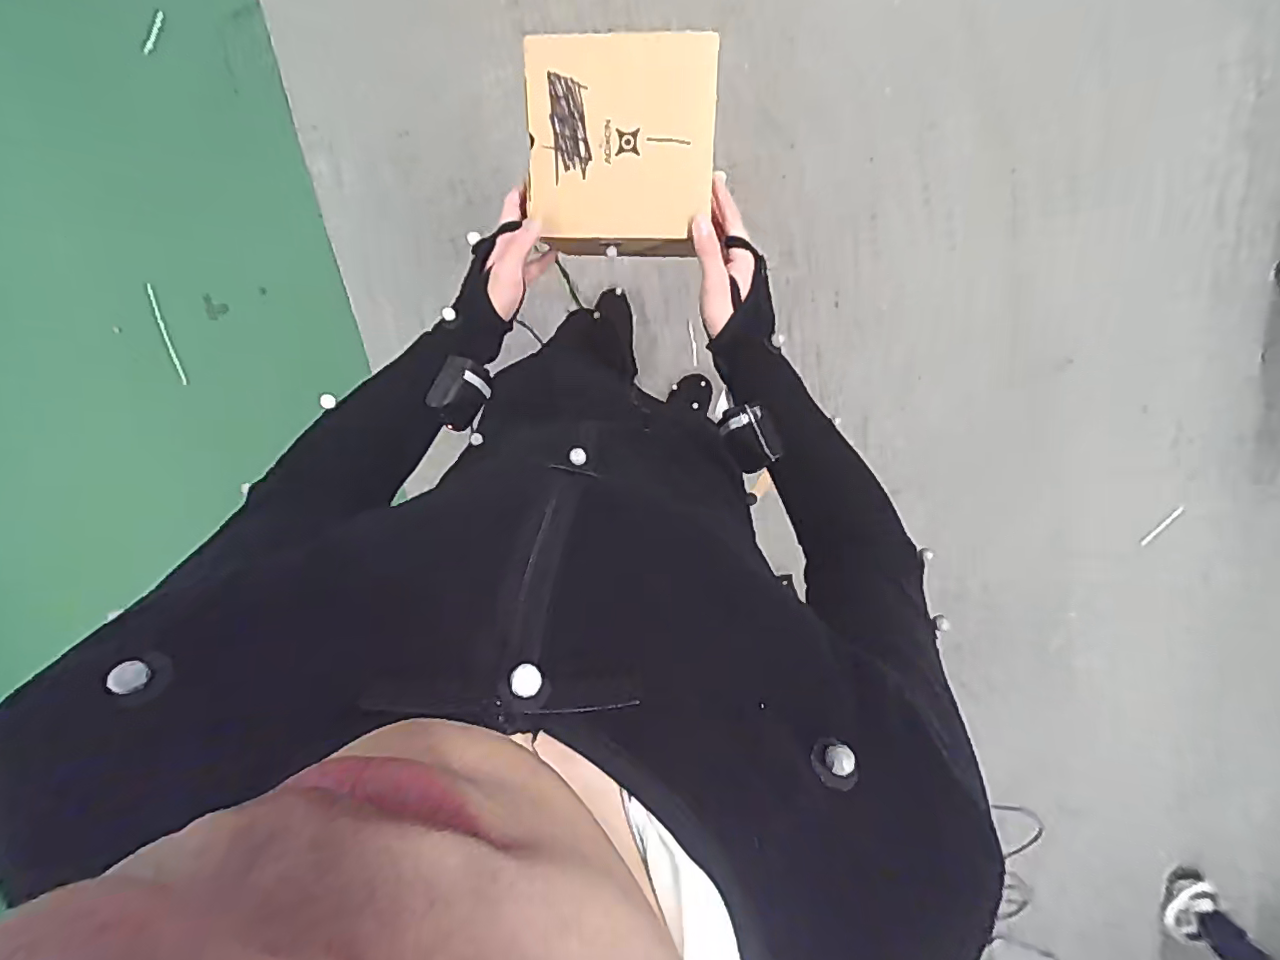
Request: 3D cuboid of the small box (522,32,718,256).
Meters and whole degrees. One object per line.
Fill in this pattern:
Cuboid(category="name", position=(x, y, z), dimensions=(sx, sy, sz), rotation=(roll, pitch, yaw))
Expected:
Cuboid(category="small box", position=(-0.013, -0.333, 0.570), dimensions=(0.179, 0.176, 0.168), rotation=(2, 107, 4))
